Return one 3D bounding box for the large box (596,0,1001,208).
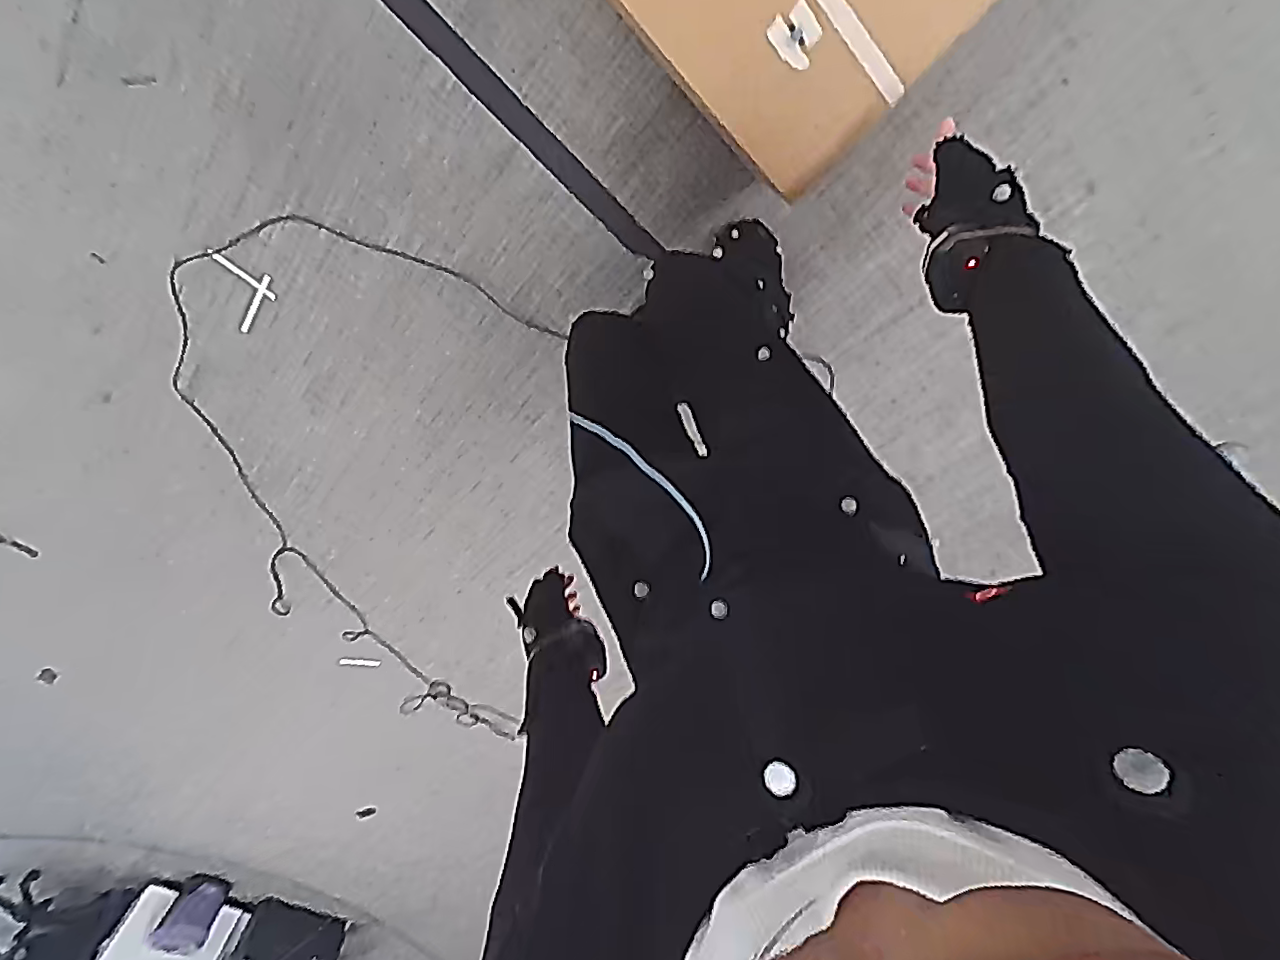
[{"bbox_3d":[0.164,-0.643,0.701,0.408,0.320,0.320,38,119,-21],"label":"large box"}]
